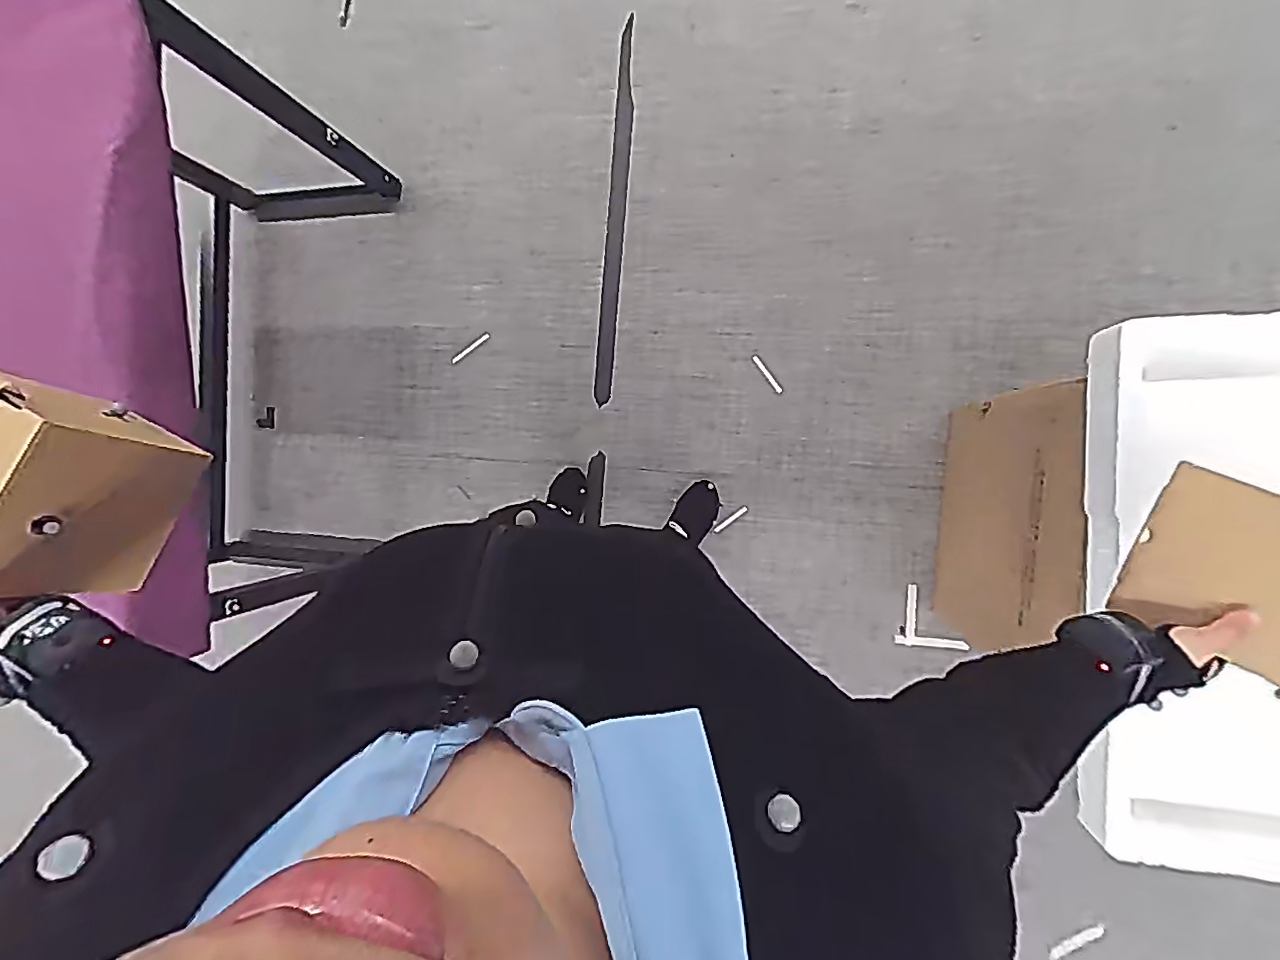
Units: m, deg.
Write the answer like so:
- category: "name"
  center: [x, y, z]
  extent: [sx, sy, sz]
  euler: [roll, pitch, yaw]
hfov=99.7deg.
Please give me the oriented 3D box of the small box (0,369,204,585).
- category: "small box"
  center: [-0.621, 0.002, 0.566]
  extent: [0.168, 0.176, 0.179]
  euler: [25, 85, 10]
